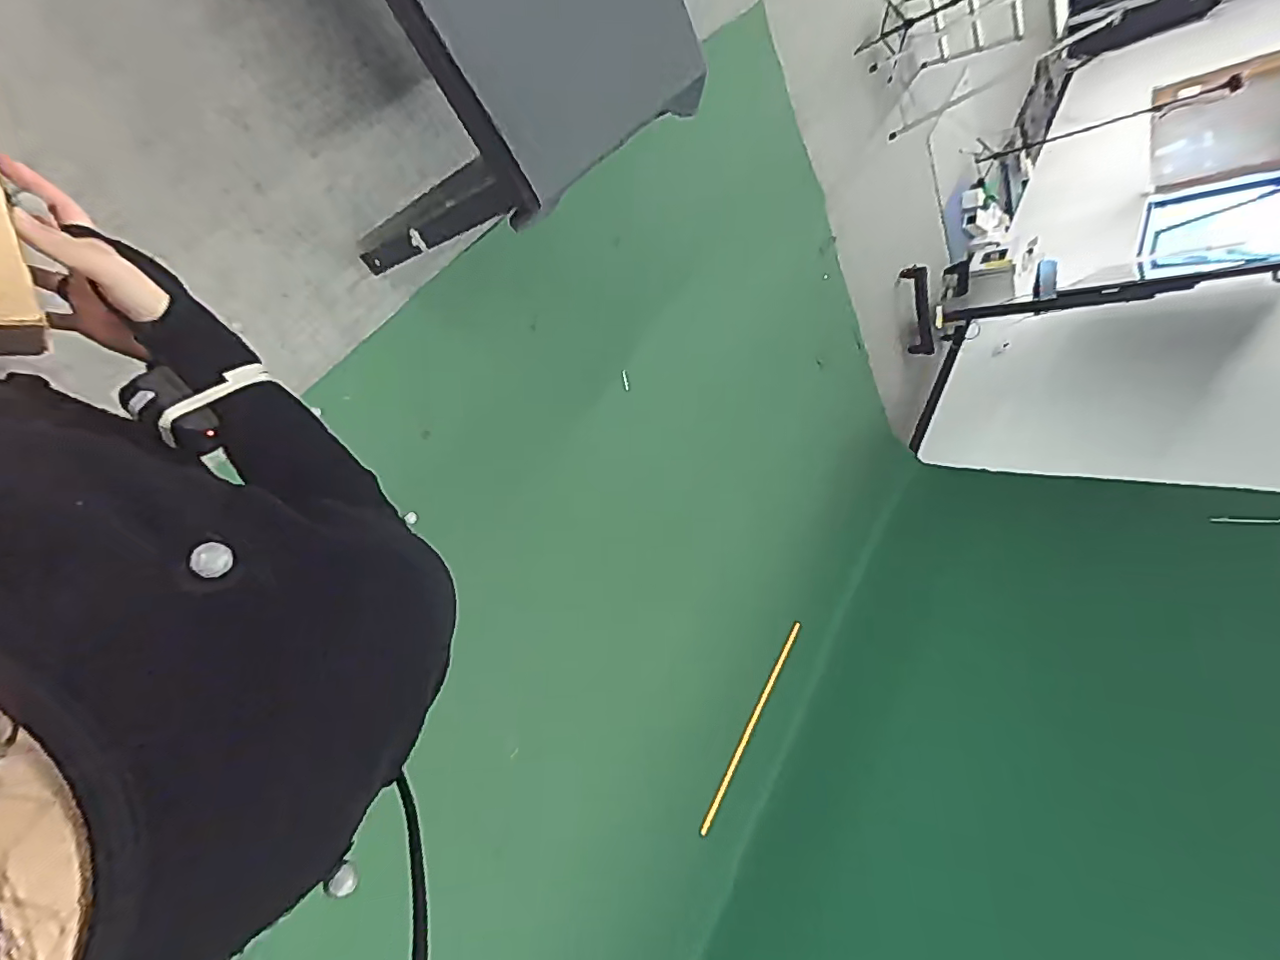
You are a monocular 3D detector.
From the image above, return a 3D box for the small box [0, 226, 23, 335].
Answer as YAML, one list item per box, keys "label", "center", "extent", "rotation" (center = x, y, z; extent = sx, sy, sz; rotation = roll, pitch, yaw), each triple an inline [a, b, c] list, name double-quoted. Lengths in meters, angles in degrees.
- label: "small box"
  center: [-0.479, -0.173, 0.289]
  extent: [0.168, 0.176, 0.179]
  rotation: [-18, 107, -47]
